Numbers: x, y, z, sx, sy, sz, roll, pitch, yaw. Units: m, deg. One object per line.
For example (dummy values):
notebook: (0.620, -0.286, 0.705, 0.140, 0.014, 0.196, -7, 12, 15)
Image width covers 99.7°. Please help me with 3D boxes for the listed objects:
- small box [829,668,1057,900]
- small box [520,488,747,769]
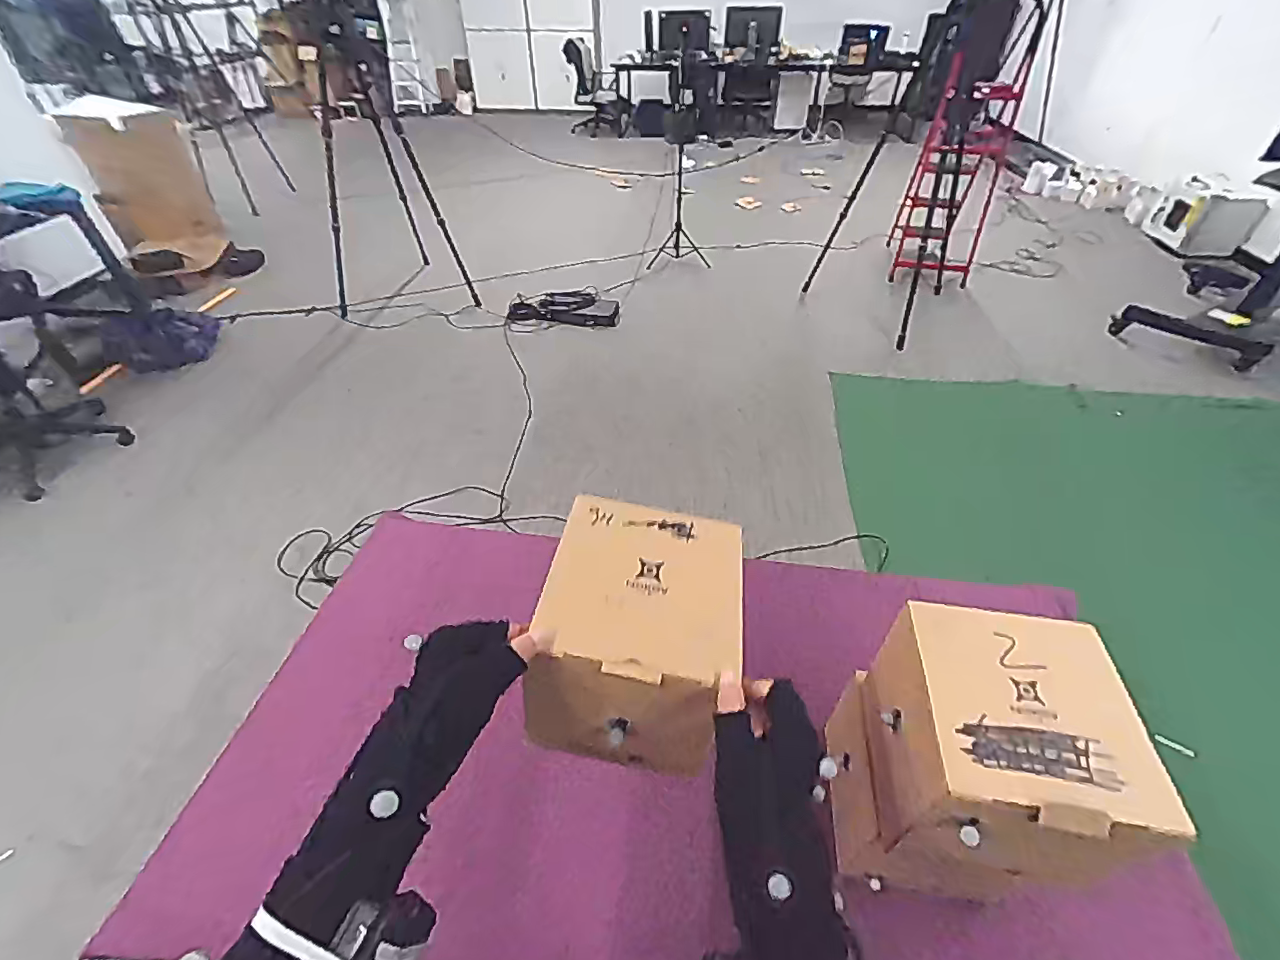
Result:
small box: (0.323, 0.350, 0.622, 0.168, 0.176, 0.179, 9, 44, 8)
small box: (-0.003, 0.138, 0.501, 0.168, 0.176, 0.179, 12, 42, 1)
